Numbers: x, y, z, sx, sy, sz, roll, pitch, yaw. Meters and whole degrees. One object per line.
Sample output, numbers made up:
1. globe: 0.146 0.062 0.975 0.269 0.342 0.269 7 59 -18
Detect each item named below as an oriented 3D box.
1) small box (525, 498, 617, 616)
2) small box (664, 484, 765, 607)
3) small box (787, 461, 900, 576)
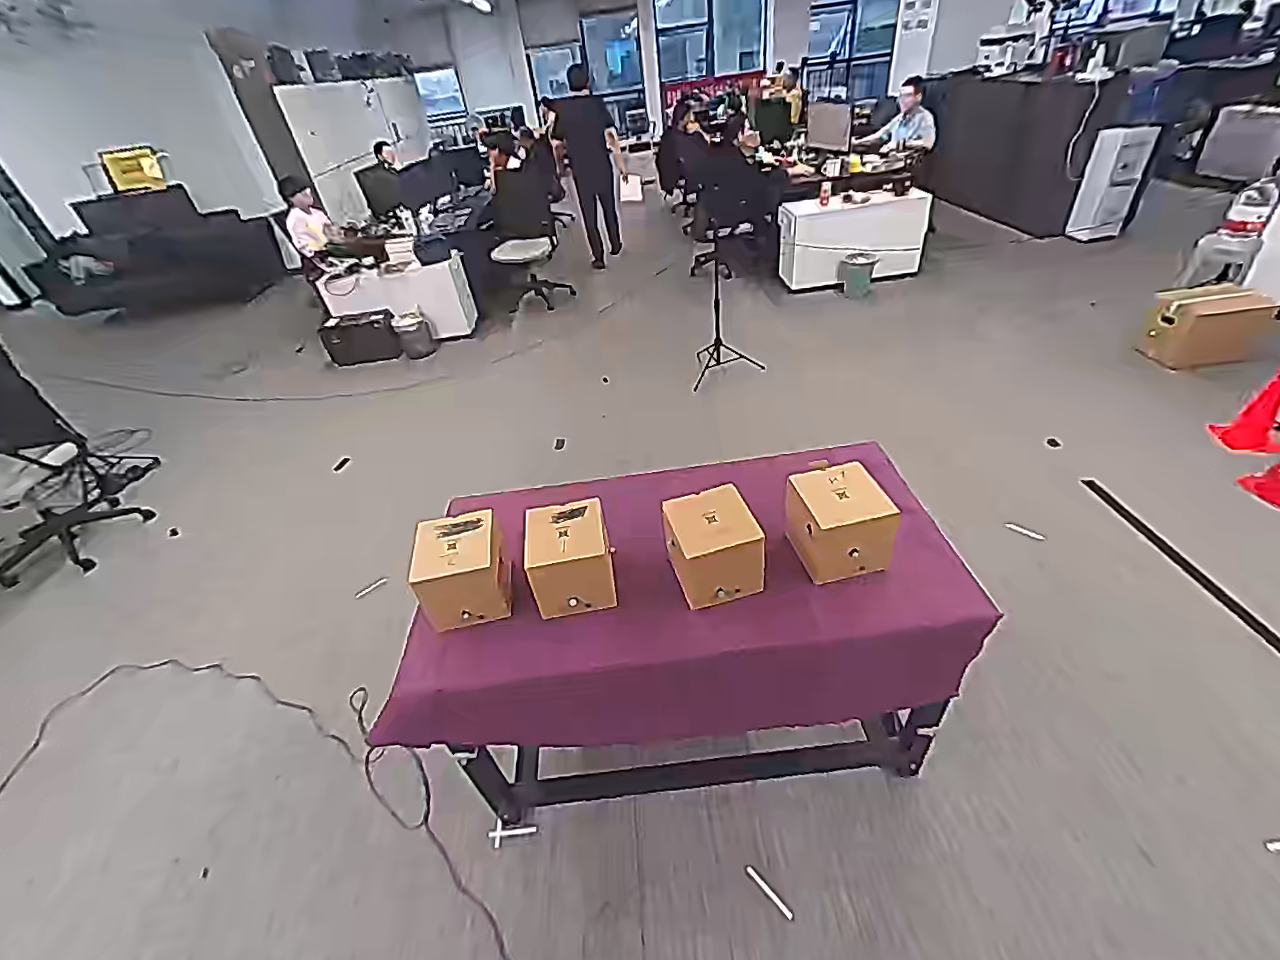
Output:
1. small box: -0.148 0.167 1.178 0.168 0.176 0.179 -10 39 -2
2. small box: 0.156 0.139 1.156 0.168 0.176 0.179 -15 38 -6
3. small box: 0.428 0.088 1.164 0.168 0.176 0.179 -12 38 -4
